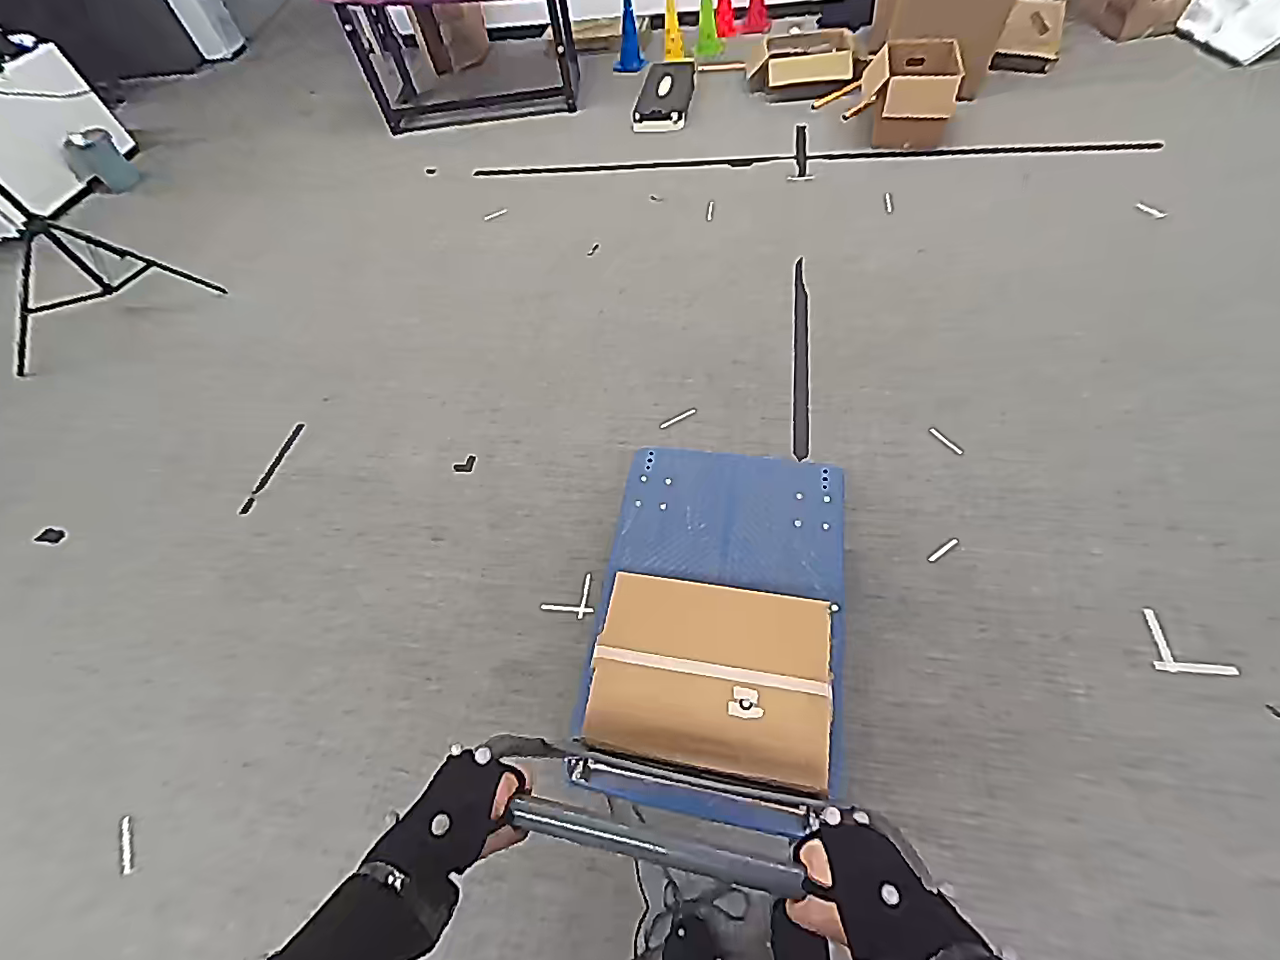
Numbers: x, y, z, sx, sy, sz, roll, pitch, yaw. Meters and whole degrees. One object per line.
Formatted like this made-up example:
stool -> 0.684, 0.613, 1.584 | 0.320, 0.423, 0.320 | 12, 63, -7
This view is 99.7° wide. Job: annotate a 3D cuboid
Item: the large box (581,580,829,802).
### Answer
large box -> 0.133, 0.417, 1.059 | 0.408, 0.320, 0.320 | 6, 60, 10
